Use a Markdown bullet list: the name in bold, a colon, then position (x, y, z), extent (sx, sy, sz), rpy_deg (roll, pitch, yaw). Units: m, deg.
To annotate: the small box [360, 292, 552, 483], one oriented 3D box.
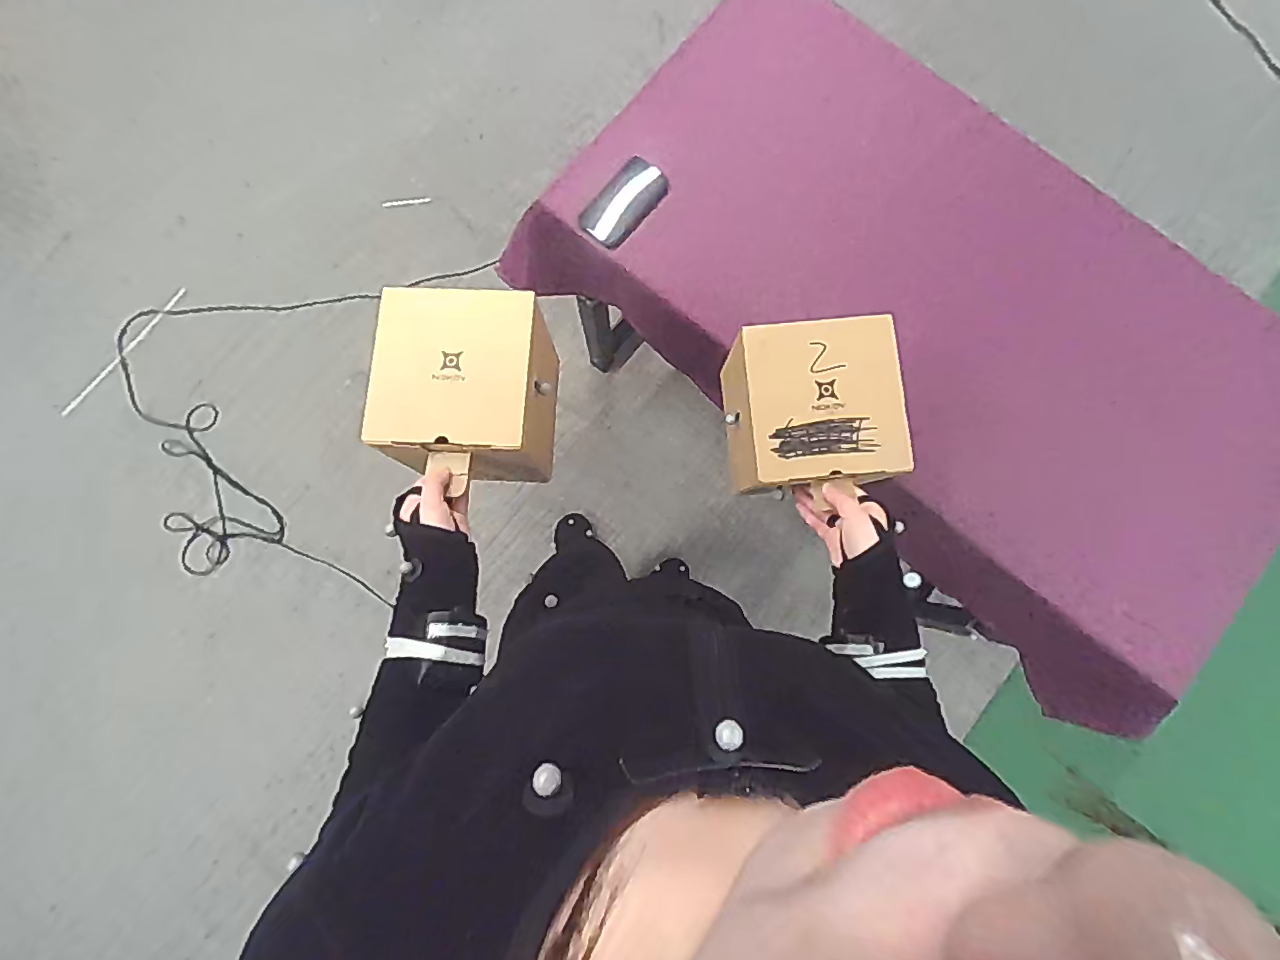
- **small box**: position (-0.202, -0.100, 0.646), extent (0.168, 0.176, 0.179), rpy_deg (2, 79, 1)
